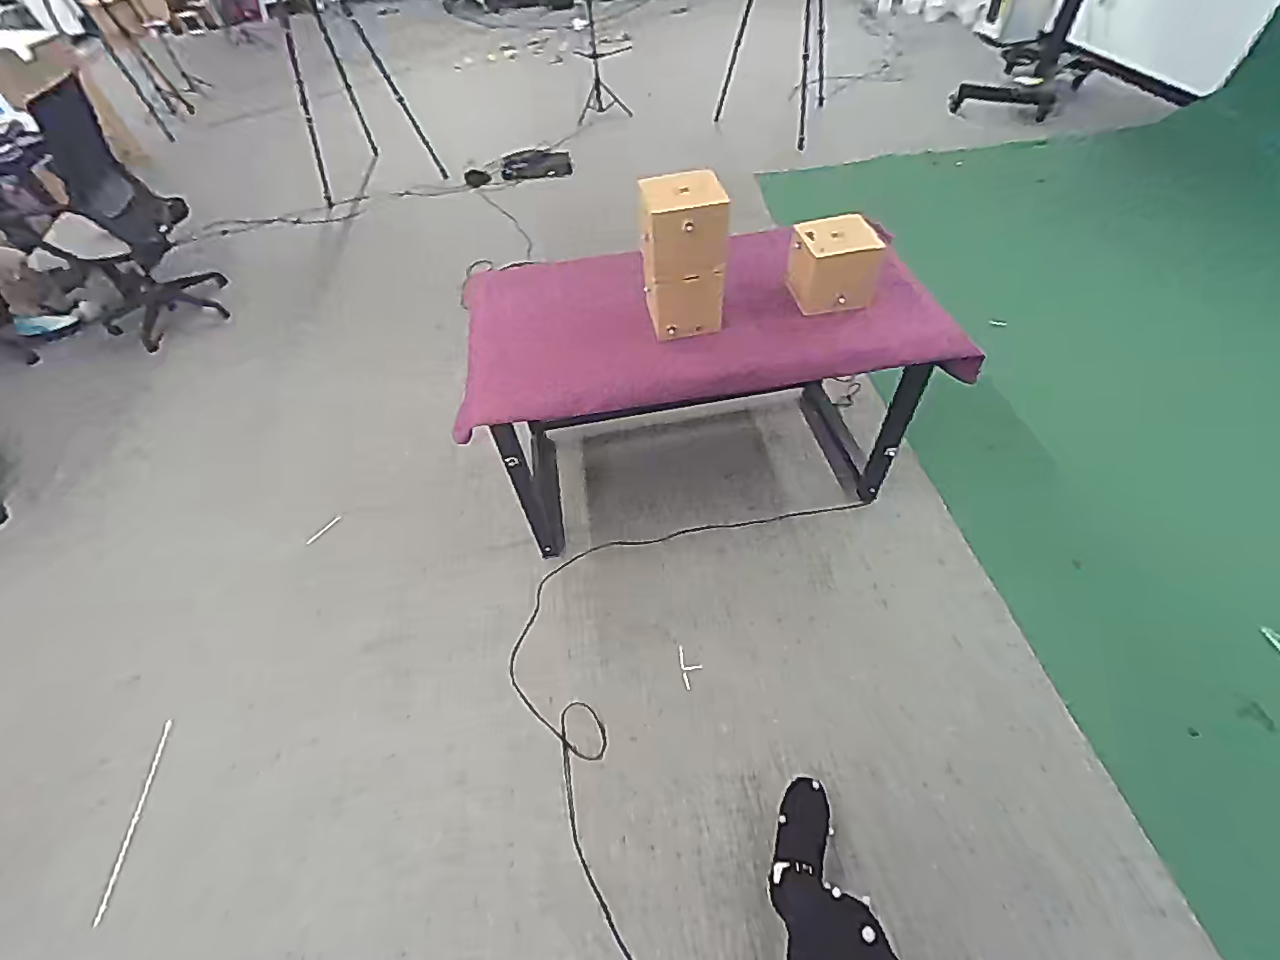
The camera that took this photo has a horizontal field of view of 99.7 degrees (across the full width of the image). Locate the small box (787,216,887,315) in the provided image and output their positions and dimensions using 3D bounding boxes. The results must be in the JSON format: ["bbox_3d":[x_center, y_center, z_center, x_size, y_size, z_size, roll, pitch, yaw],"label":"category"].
[{"bbox_3d":[0.496,-0.550,1.390,0.179,0.176,0.168,-9,52,-2],"label":"small box"}]

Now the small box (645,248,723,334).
[{"bbox_3d":[0.110,-0.488,1.372,0.168,0.176,0.179,-10,51,-3],"label":"small box"}]

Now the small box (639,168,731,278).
[{"bbox_3d":[0.100,-0.585,1.242,0.179,0.176,0.168,-9,53,-4],"label":"small box"}]
